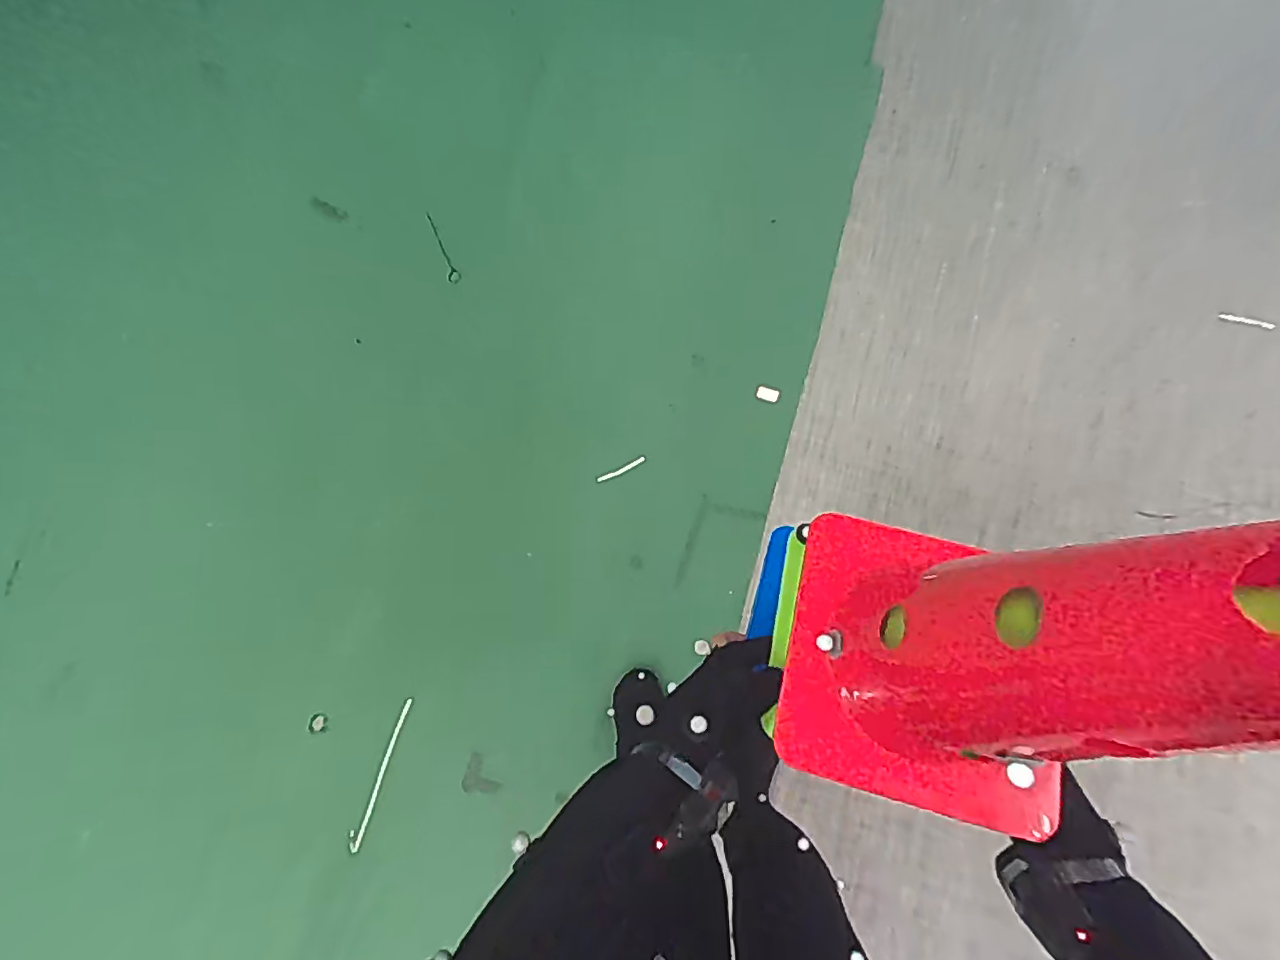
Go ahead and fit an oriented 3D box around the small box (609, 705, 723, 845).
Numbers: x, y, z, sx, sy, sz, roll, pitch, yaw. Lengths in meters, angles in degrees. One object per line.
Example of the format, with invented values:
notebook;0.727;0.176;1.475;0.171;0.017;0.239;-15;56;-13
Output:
small box;0.043;0.569;1.062;0.168;0.176;0.179;15;82;-11
